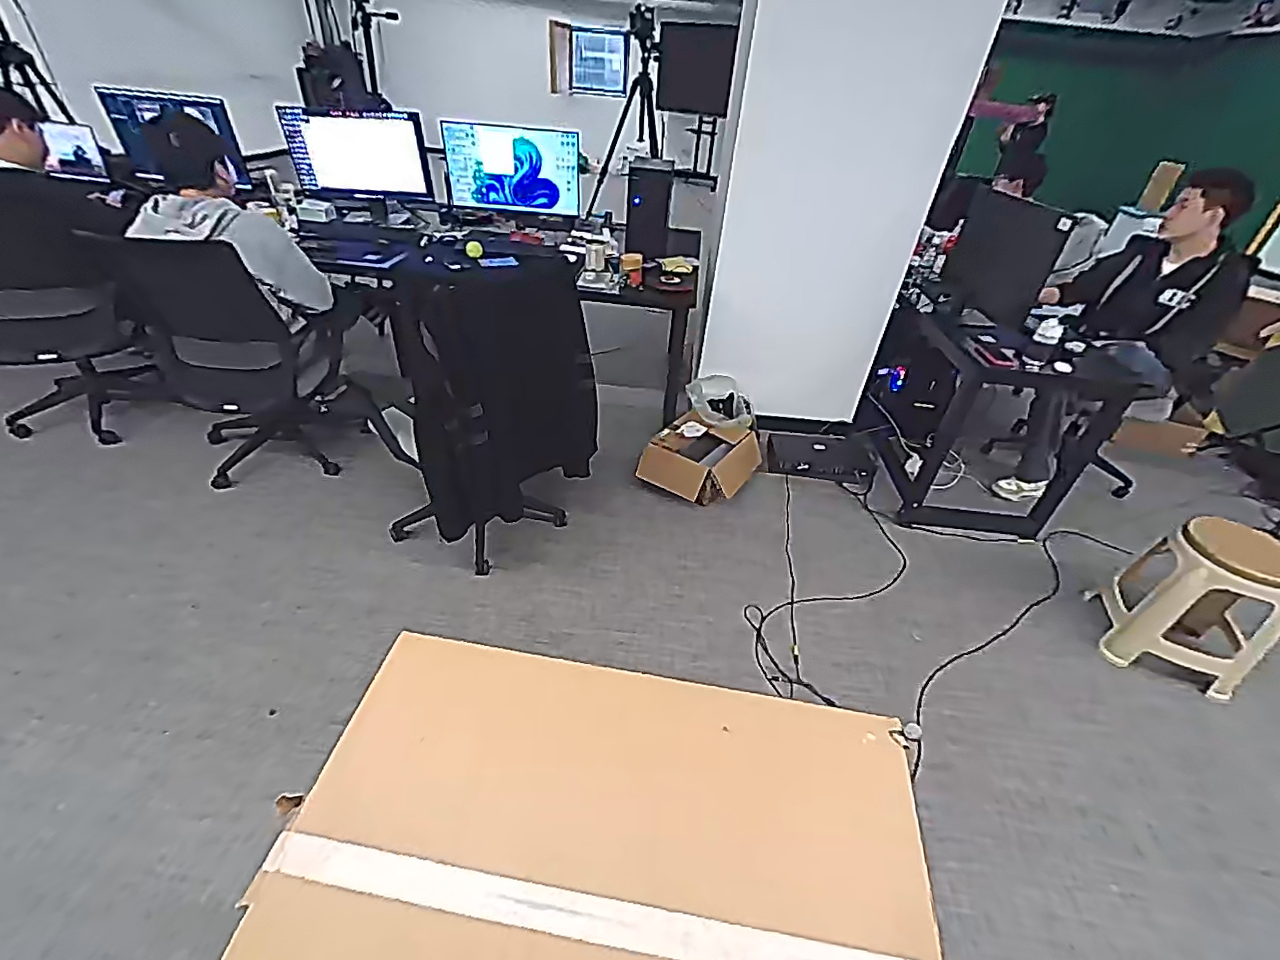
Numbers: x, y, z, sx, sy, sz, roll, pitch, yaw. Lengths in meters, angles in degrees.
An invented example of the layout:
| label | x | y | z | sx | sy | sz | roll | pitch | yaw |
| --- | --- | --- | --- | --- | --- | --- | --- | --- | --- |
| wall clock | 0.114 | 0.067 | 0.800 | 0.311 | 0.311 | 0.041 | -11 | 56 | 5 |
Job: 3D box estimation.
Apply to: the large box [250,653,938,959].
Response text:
| label | x | y | z | sx | sy | sz | roll | pitch | yaw |
| --- | --- | --- | --- | --- | --- | --- | --- | --- | --- |
| large box | -0.029 | 0.379 | 0.428 | 0.408 | 0.320 | 0.320 | 9 | 44 | 4 |
